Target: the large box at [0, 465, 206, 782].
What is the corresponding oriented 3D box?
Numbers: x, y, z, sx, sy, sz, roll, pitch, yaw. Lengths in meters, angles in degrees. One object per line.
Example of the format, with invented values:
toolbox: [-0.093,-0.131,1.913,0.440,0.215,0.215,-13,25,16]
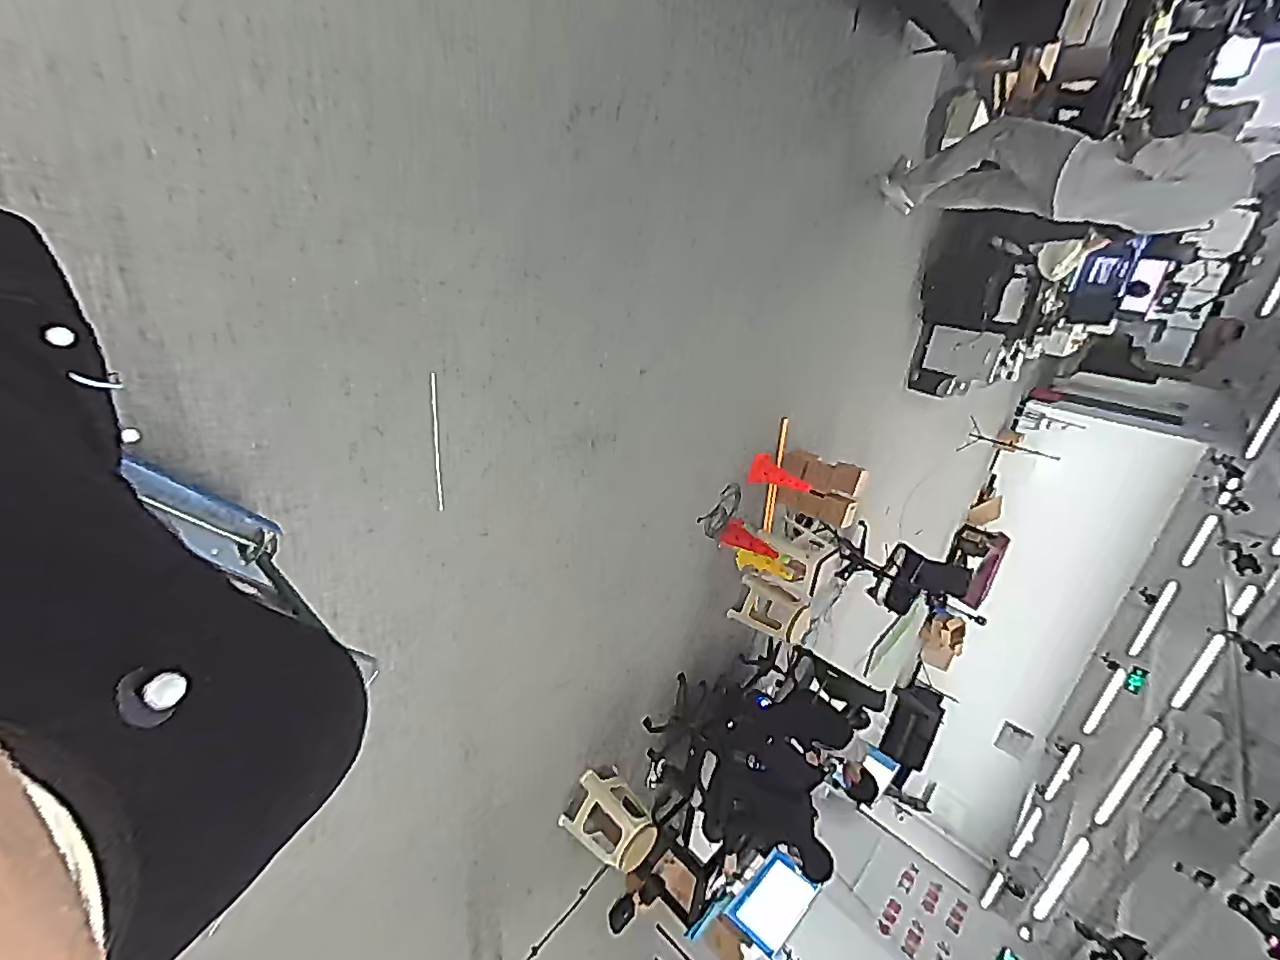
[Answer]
large box: [-1.094,0.246,0.957,0.408,0.320,0.320,-55,141,-11]
